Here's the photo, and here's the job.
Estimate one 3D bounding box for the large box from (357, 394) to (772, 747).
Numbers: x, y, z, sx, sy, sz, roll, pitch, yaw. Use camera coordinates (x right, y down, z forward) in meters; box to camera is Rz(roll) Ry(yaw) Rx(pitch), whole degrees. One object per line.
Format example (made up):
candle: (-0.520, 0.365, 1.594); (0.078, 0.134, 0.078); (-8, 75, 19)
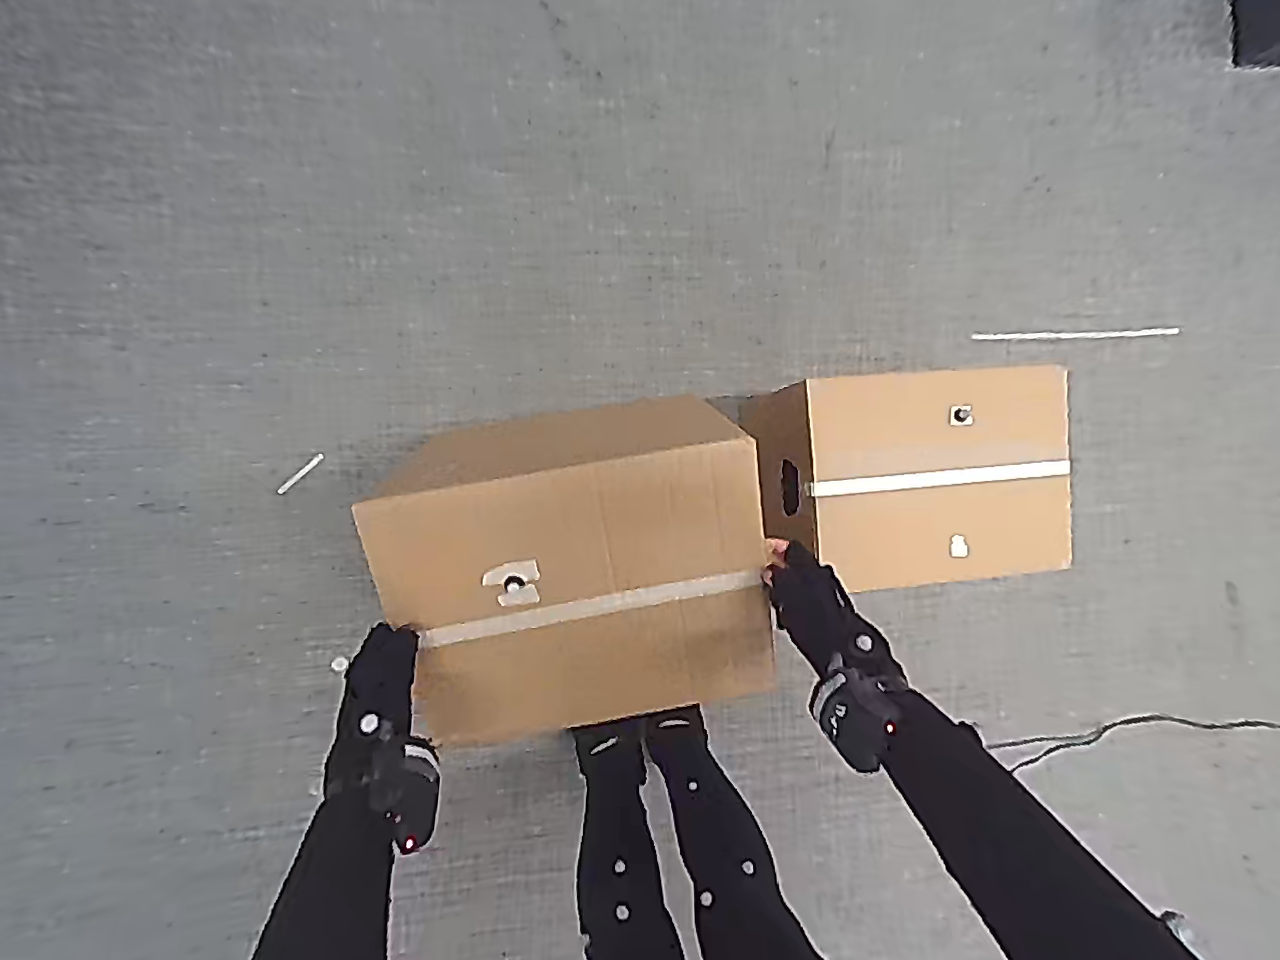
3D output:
large box: (-0.073, 0.088, 0.724); (0.408, 0.320, 0.320); (-10, 107, -1)
